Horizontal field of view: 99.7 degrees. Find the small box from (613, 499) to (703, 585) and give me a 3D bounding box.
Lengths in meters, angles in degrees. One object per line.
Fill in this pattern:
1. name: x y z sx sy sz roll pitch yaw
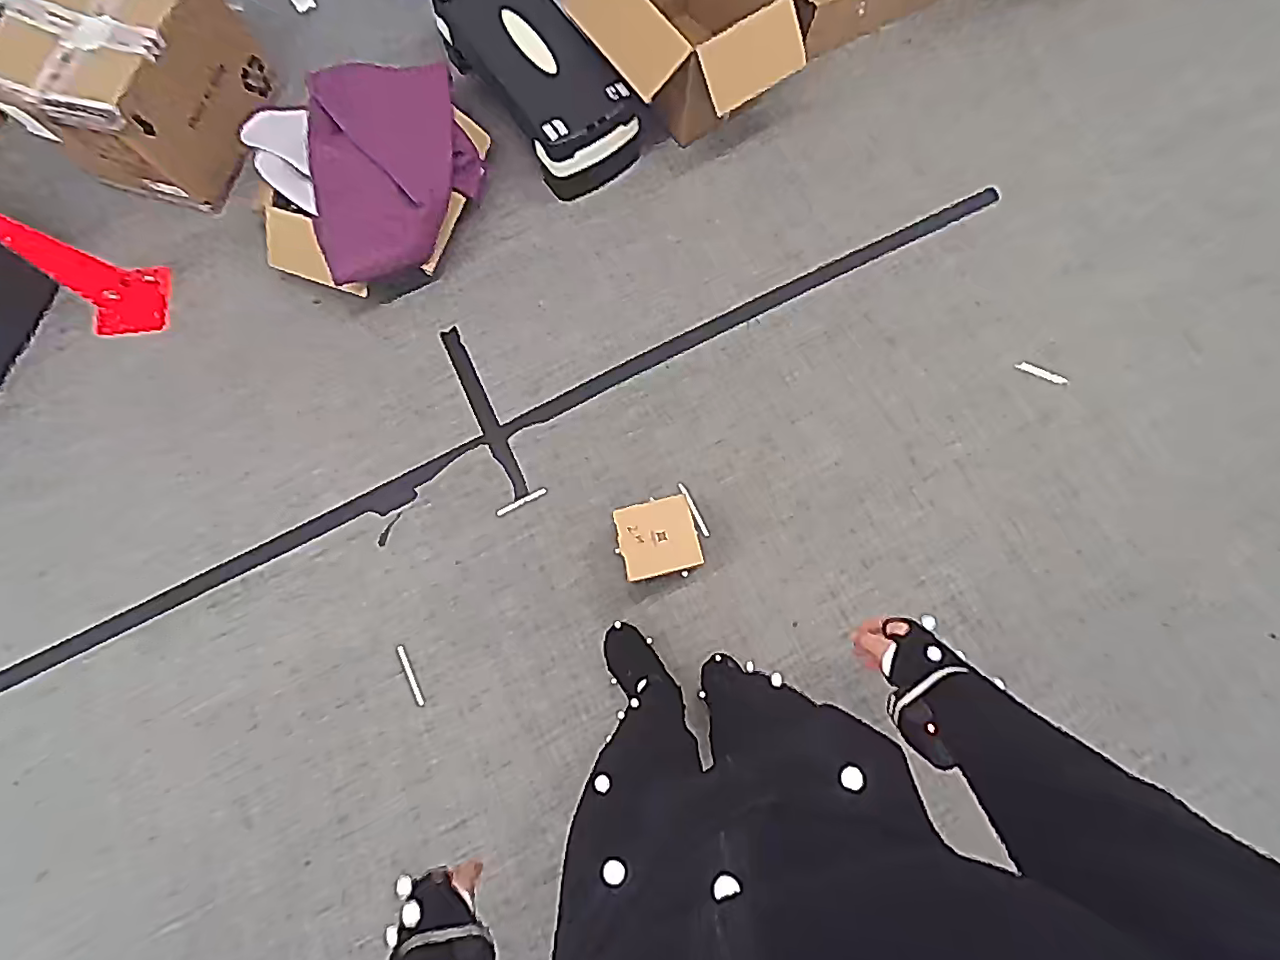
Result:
1. small box: 0.038 0.153 1.298 0.179 0.176 0.168 -14 78 -3
